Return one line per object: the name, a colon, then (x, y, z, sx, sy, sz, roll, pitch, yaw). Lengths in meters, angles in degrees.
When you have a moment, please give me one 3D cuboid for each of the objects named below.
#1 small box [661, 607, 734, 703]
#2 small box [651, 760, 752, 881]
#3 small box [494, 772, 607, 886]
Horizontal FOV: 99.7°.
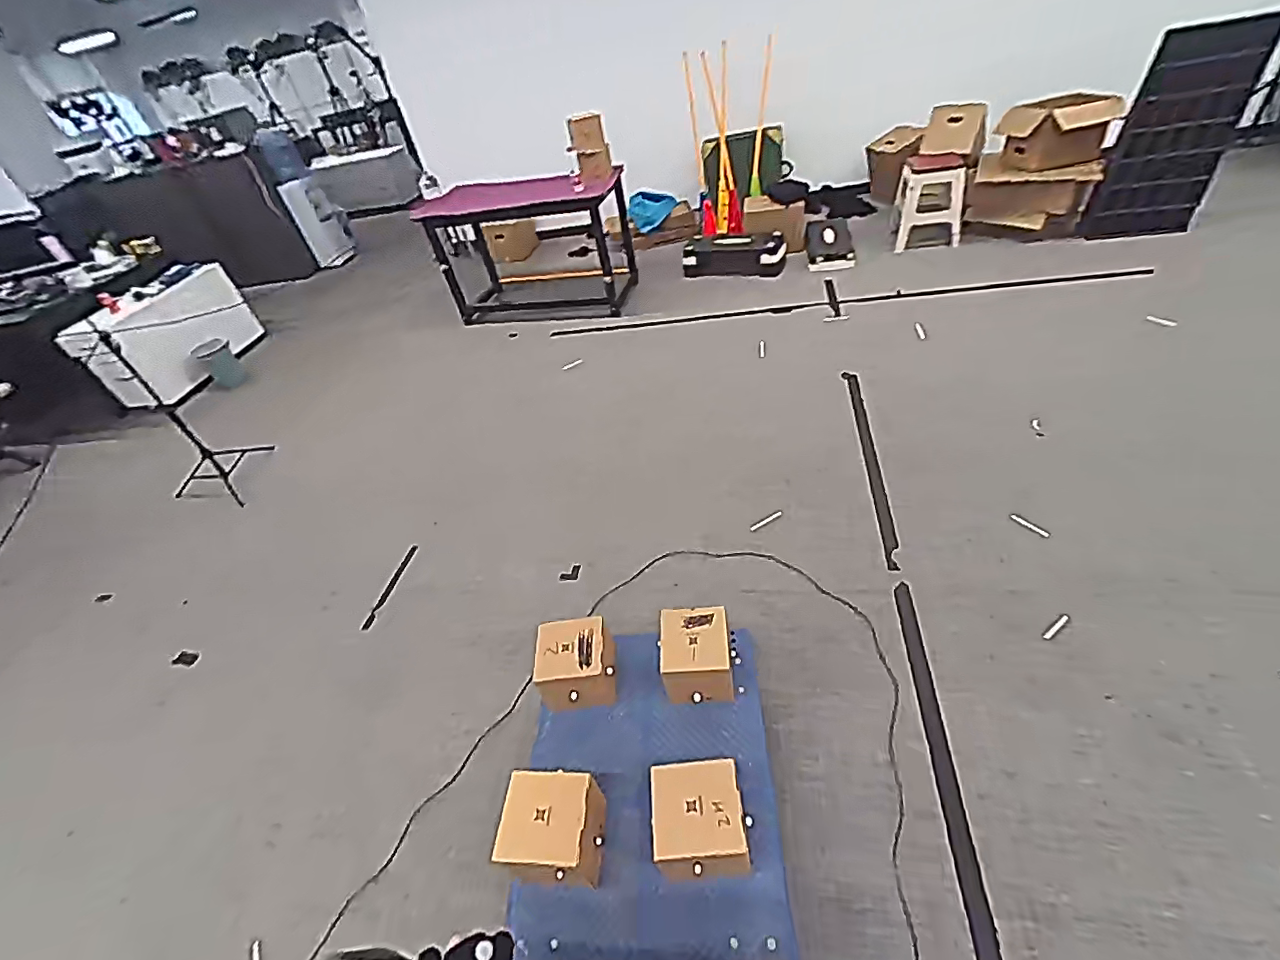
small box: (0.147, 0.447, 1.376, 0.168, 0.176, 0.179, -6, 43, 9)
small box: (0.125, 0.697, 1.103, 0.179, 0.176, 0.168, -9, 41, 6)
small box: (-0.180, 0.737, 1.141, 0.179, 0.176, 0.168, -3, 42, 9)
